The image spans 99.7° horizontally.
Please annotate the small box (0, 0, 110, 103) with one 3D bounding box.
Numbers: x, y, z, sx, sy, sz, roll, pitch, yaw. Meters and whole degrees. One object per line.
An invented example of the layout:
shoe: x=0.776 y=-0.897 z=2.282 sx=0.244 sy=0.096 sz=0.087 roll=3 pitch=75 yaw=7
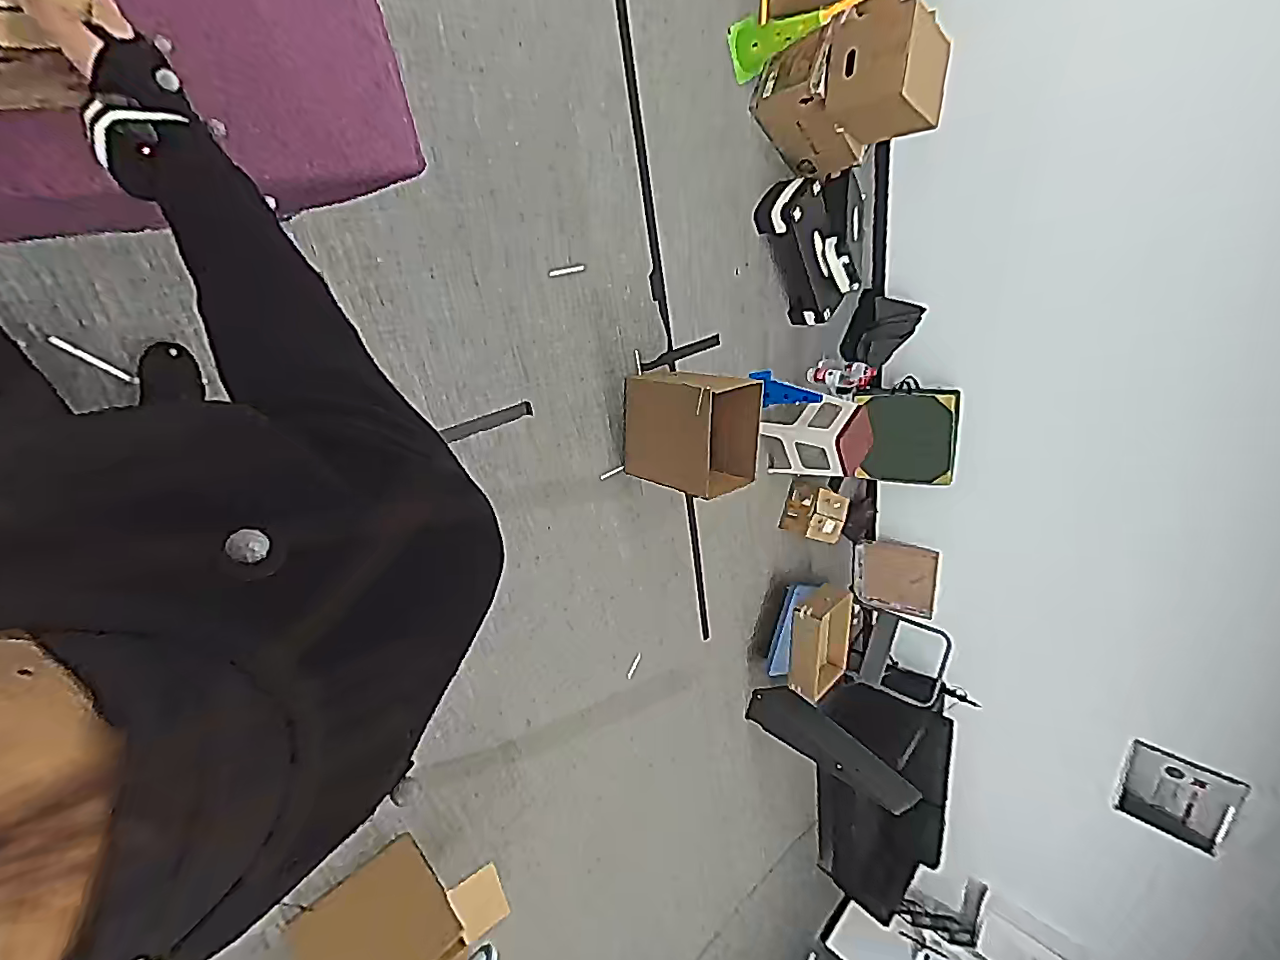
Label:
small box: x=-0.602 y=-0.440 z=0.461 sx=0.168 sy=0.176 sz=0.179 roll=-33 pitch=122 yaw=-33
